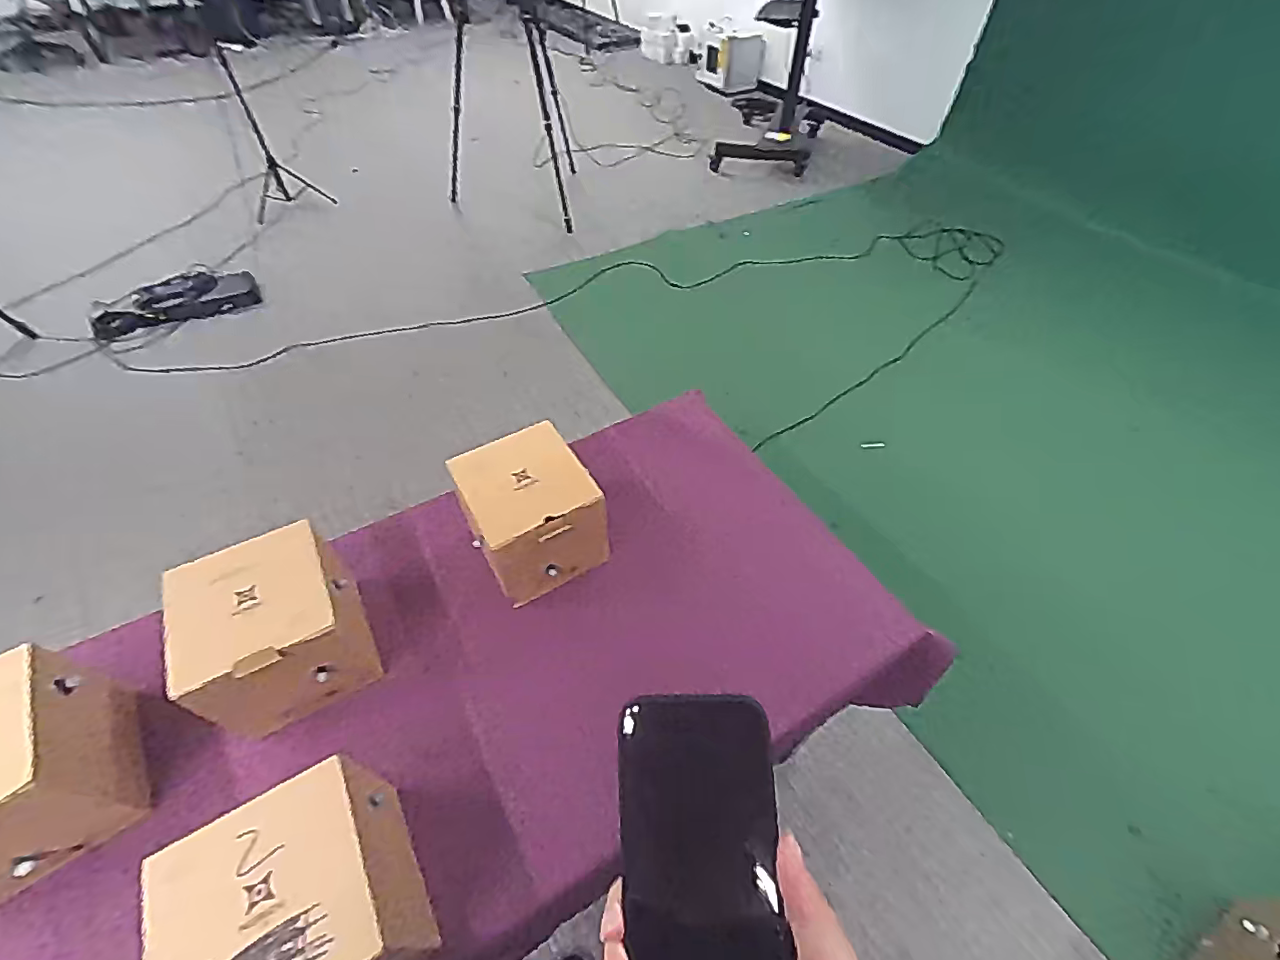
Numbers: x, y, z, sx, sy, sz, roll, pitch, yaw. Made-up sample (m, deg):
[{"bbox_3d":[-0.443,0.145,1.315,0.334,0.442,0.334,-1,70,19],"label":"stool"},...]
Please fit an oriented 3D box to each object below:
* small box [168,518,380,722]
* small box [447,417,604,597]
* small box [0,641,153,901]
[{"bbox_3d":[-0.460,0.187,0.698,0.168,0.176,0.179,-24,55,-20],"label":"small box"},{"bbox_3d":[-0.166,0.042,0.818,0.168,0.176,0.179,-26,57,-20],"label":"small box"},{"bbox_3d":[-0.684,0.318,0.587,0.168,0.176,0.179,-30,57,-22],"label":"small box"}]
